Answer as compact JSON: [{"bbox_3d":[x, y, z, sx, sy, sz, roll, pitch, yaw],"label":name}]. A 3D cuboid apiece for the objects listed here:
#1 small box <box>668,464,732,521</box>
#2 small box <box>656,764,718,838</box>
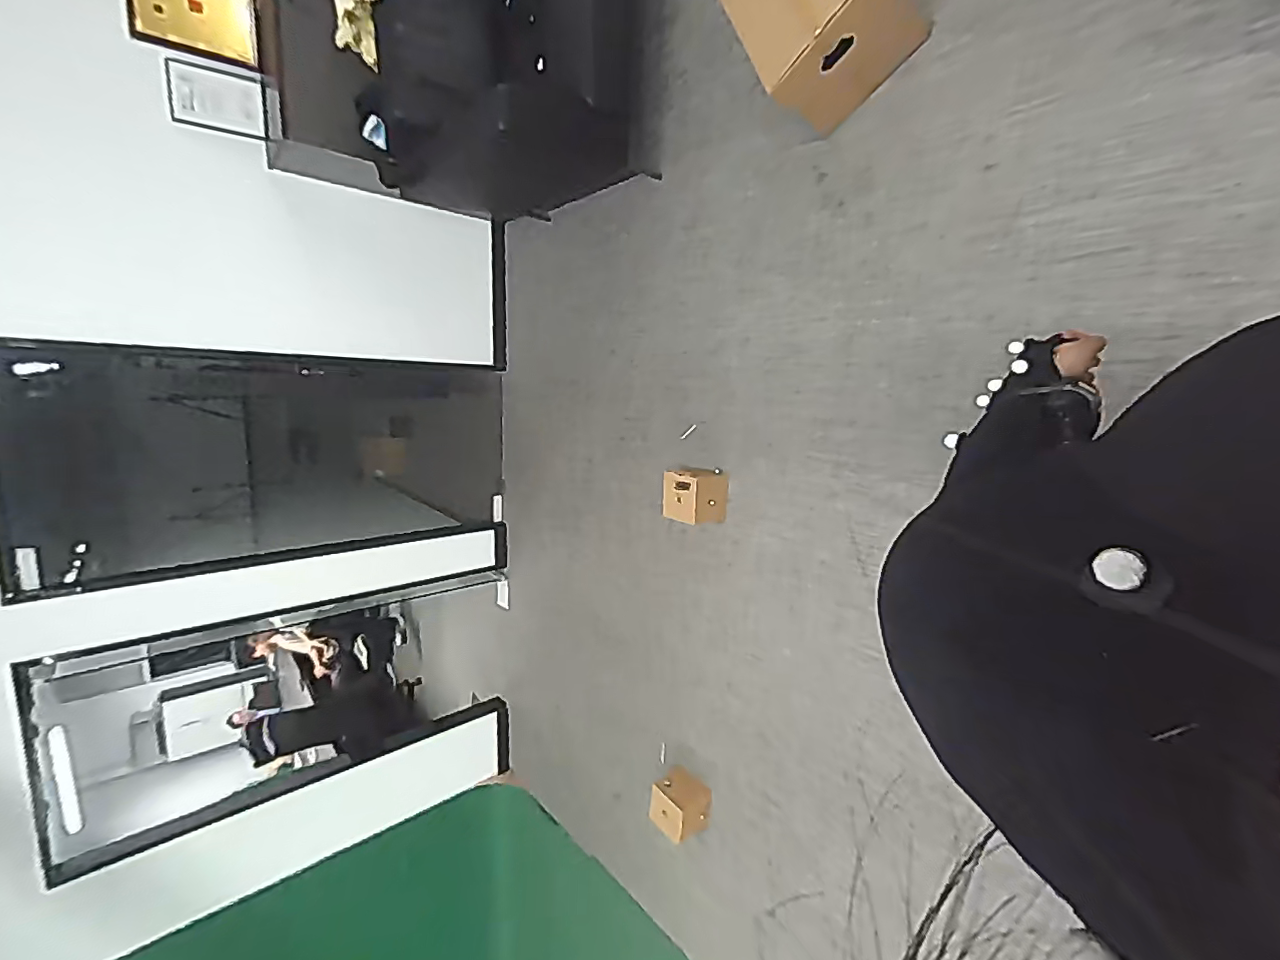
[{"bbox_3d":[0.225,0.038,1.995,0.168,0.176,0.179,14,106,47],"label":"small box"},{"bbox_3d":[0.192,1.293,2.199,0.179,0.176,0.168,20,111,46],"label":"small box"}]
